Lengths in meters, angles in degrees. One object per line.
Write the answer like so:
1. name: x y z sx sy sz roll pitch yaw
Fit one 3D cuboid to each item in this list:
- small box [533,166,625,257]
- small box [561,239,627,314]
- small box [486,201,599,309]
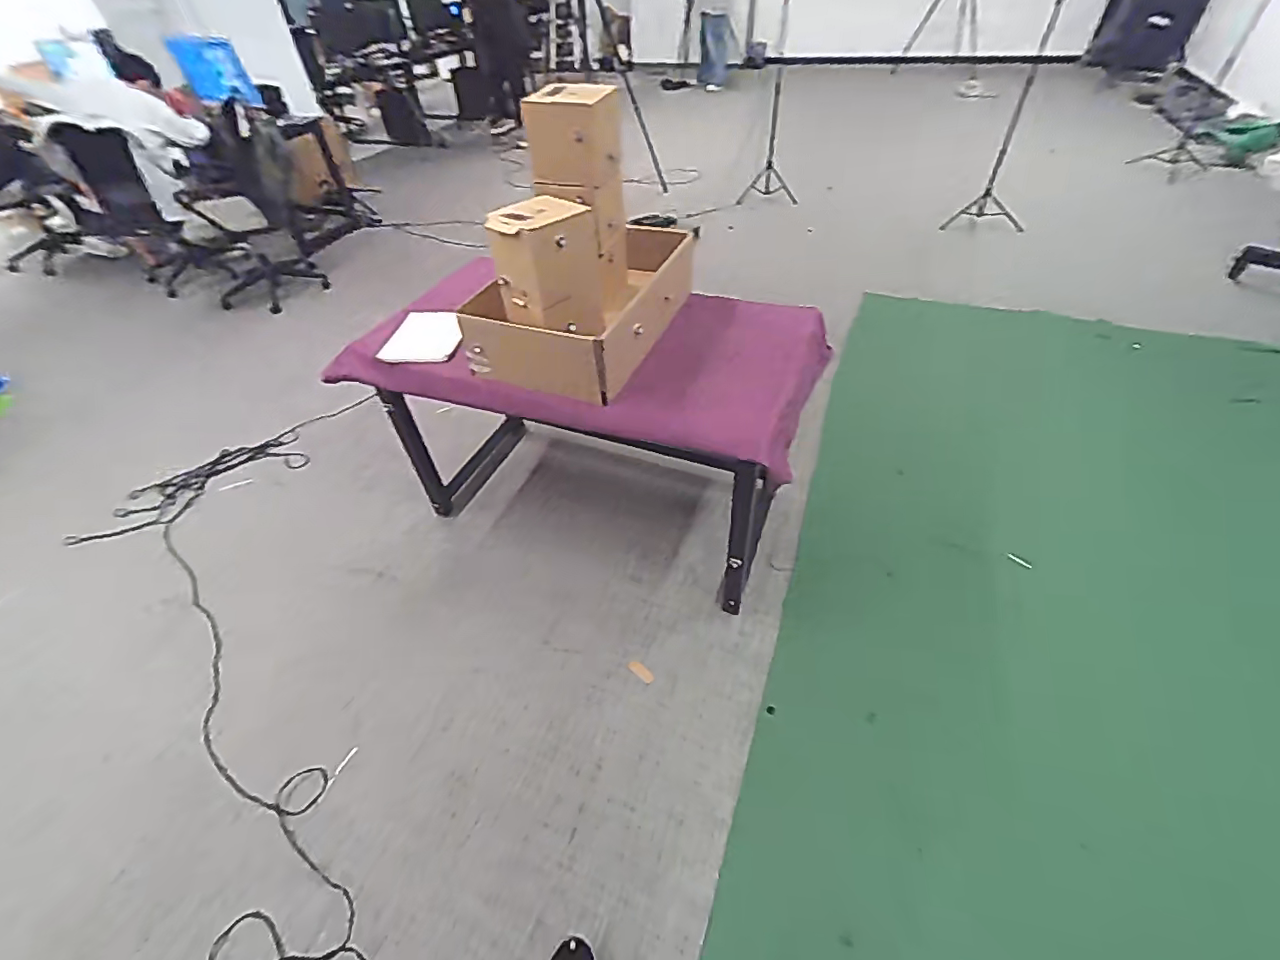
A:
1. small box: -0.150 -0.699 1.411 0.179 0.176 0.168 13 49 17
2. small box: -0.143 -0.591 1.531 0.168 0.176 0.179 15 50 19
3. small box: -0.210 -0.504 1.214 0.168 0.176 0.179 32 54 33
